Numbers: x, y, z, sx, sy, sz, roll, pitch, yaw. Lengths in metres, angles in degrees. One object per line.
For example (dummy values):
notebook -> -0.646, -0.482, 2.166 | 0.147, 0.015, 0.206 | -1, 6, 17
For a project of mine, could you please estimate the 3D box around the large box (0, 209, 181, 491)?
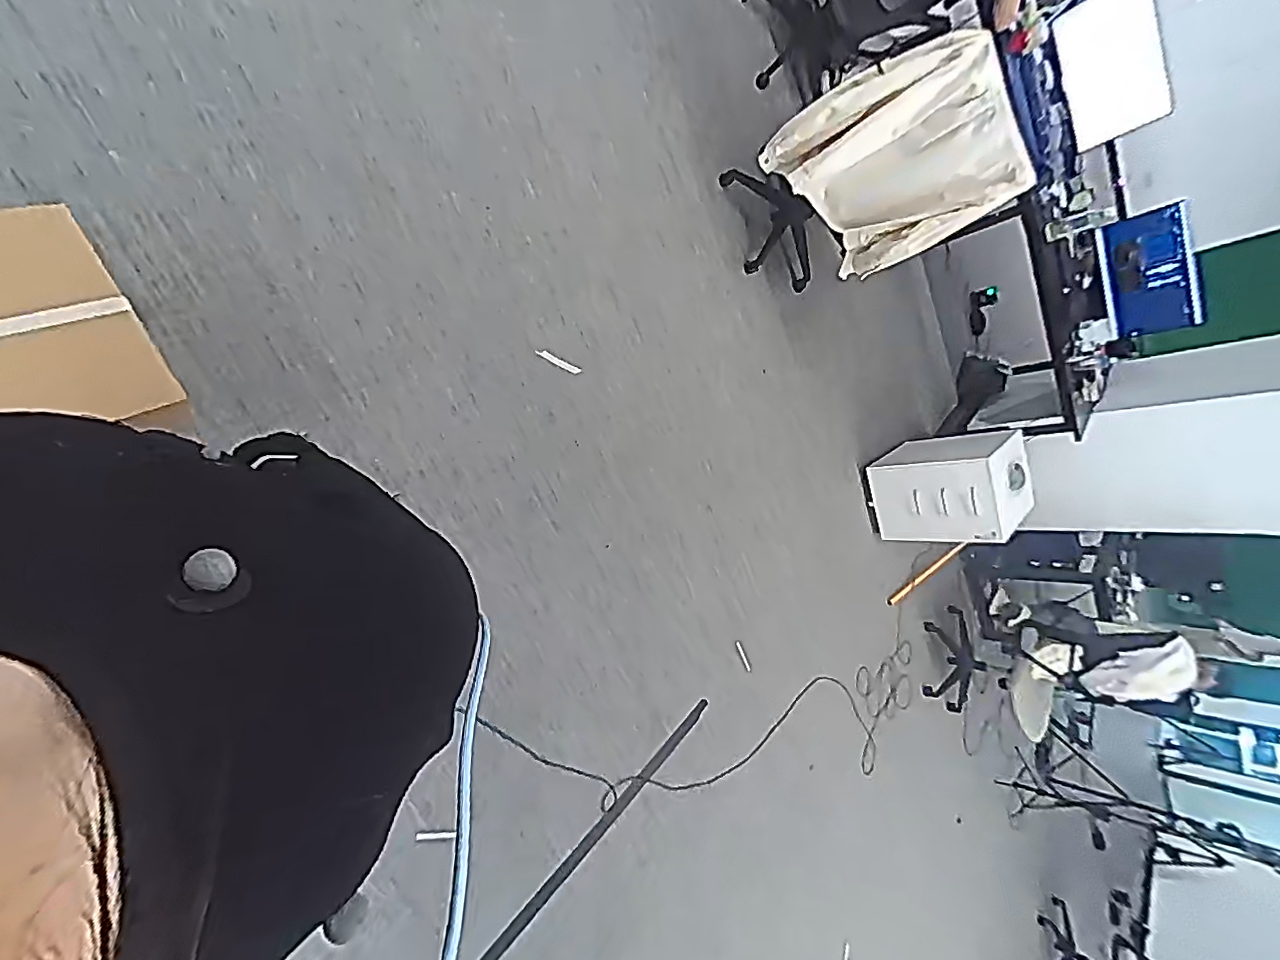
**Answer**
large box -> -1.018, -0.160, 0.823 | 0.408, 0.320, 0.320 | -34, 109, -37
